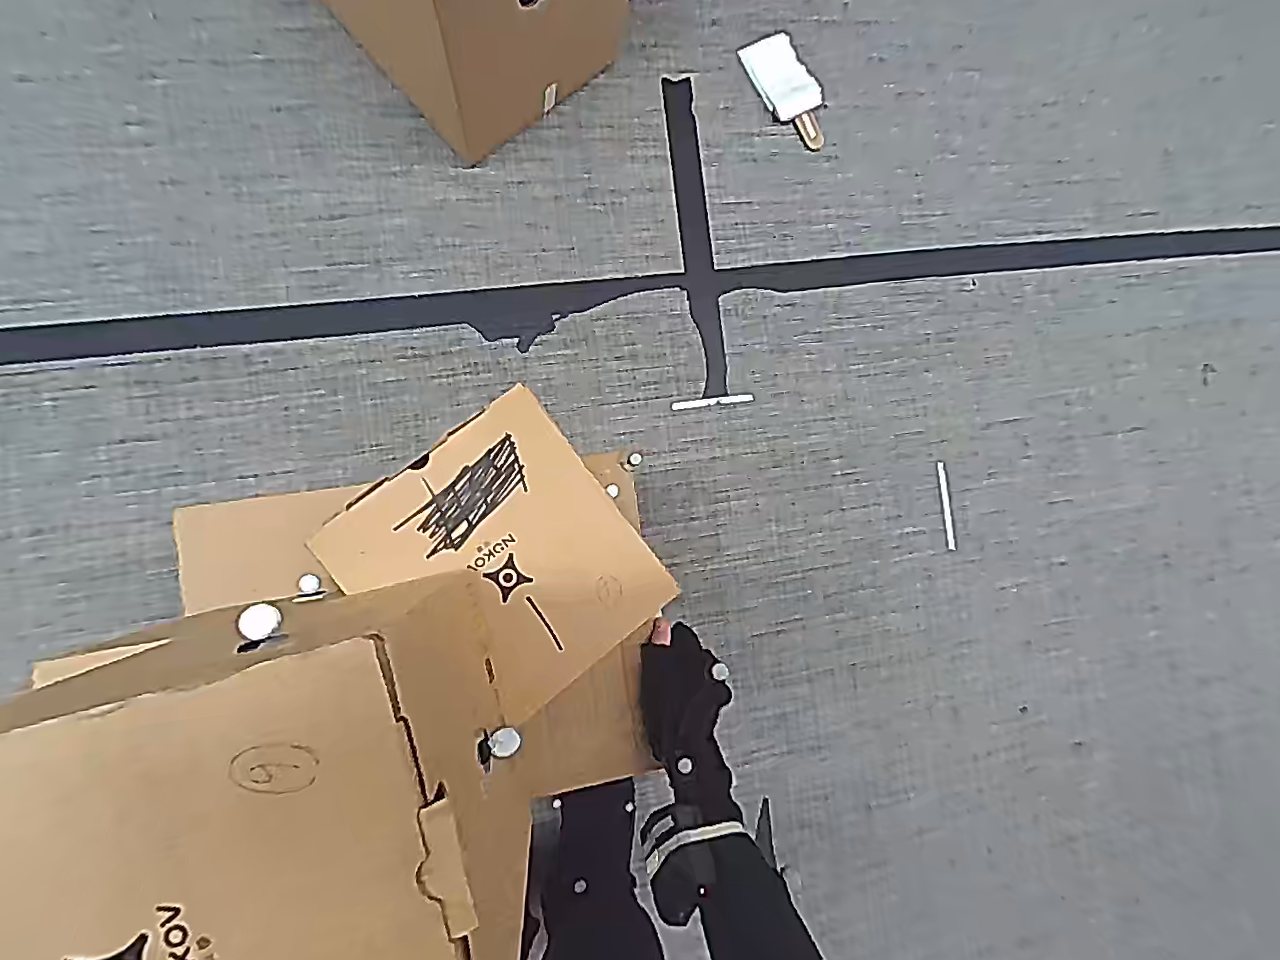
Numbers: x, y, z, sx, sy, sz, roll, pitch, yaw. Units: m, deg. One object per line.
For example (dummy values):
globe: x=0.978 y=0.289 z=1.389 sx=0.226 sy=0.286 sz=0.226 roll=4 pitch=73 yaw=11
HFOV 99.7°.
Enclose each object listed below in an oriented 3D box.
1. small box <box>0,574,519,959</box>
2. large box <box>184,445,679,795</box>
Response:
small box: x=-0.155 y=0.147 z=0.238 sx=0.179 sy=0.176 sz=0.168 roll=-14 pitch=89 yaw=-9
large box: x=-0.204 y=0.158 z=0.642 sx=0.408 sy=0.320 sz=0.320 roll=-9 pitch=89 yaw=-10
